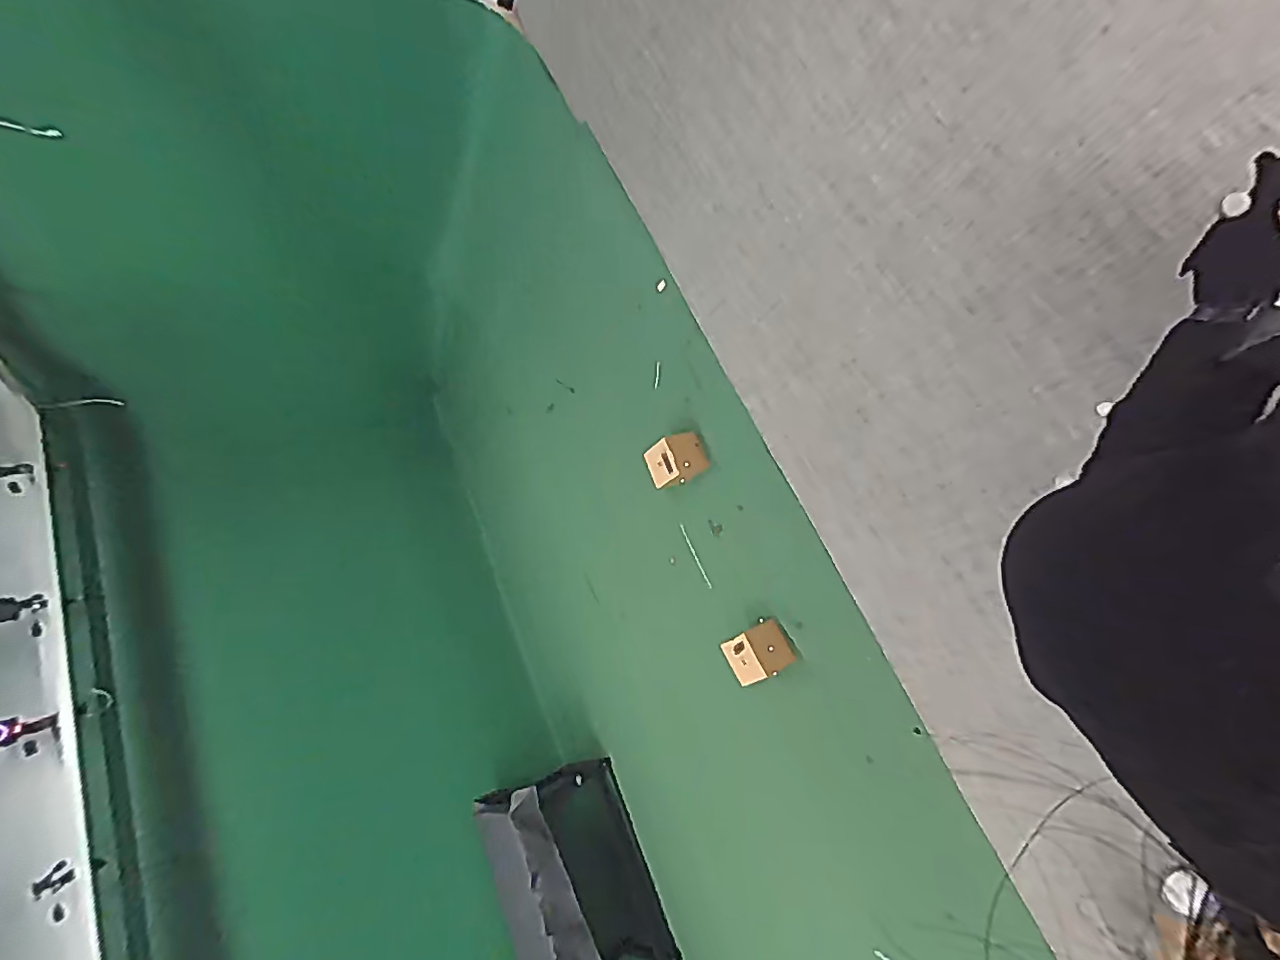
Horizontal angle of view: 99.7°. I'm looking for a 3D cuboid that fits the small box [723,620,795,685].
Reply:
[{"bbox_3d":[0.460,0.659,2.086,0.179,0.176,0.168,62,142,18],"label":"small box"}]
